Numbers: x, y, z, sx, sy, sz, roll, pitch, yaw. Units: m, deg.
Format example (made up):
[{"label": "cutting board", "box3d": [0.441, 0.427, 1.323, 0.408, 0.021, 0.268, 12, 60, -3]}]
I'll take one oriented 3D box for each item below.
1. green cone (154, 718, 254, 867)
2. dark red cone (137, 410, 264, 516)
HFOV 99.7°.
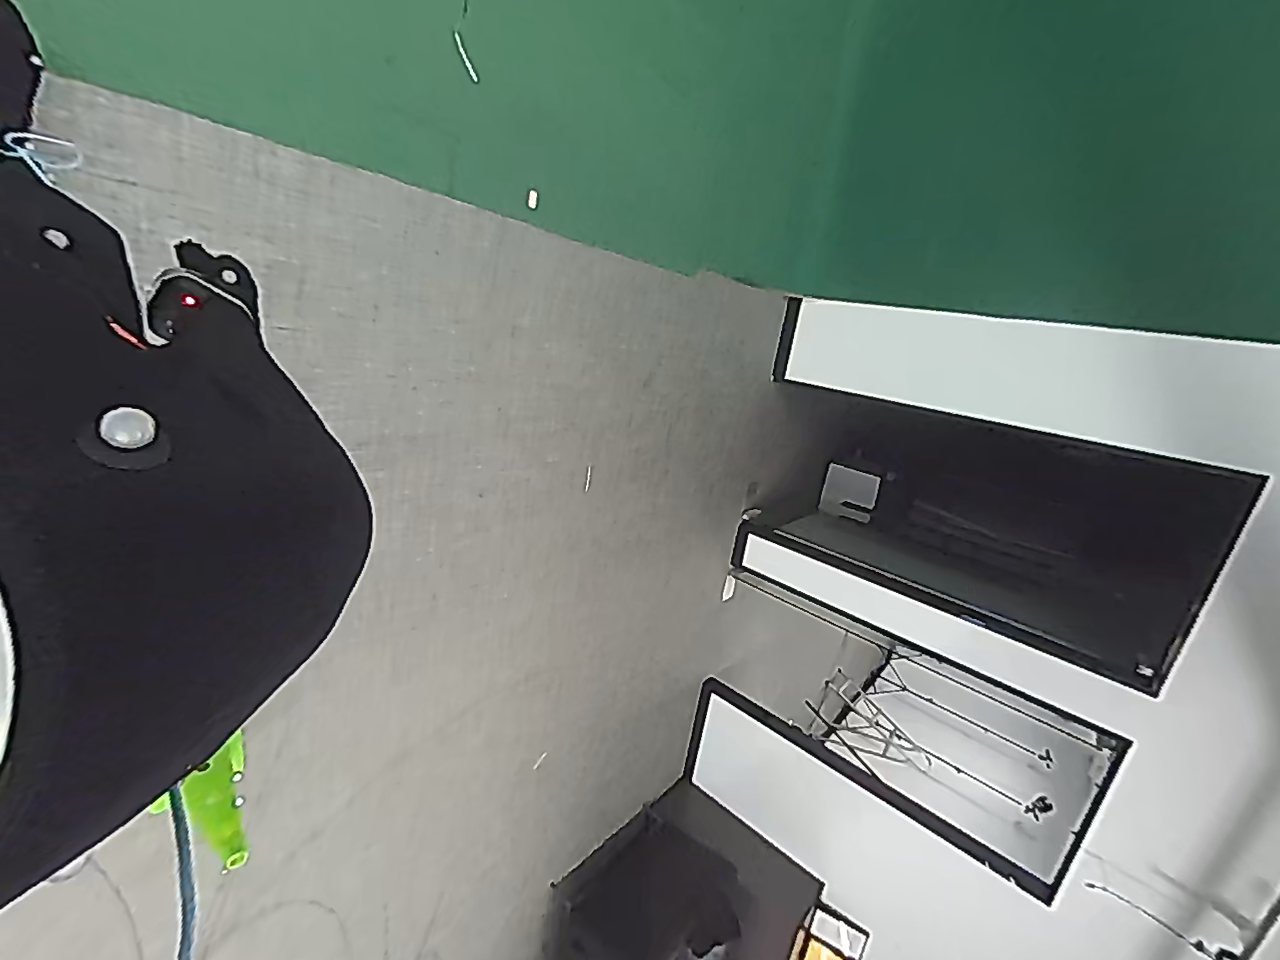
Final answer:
[{"label": "green cone", "box3d": [-1.018, 0.794, 1.322, 0.202, 0.368, 0.200, -11, 115, -47]}, {"label": "dark red cone", "box3d": [-0.847, -0.006, 1.100, 0.202, 0.394, 0.201, -17, 119, -46]}]
